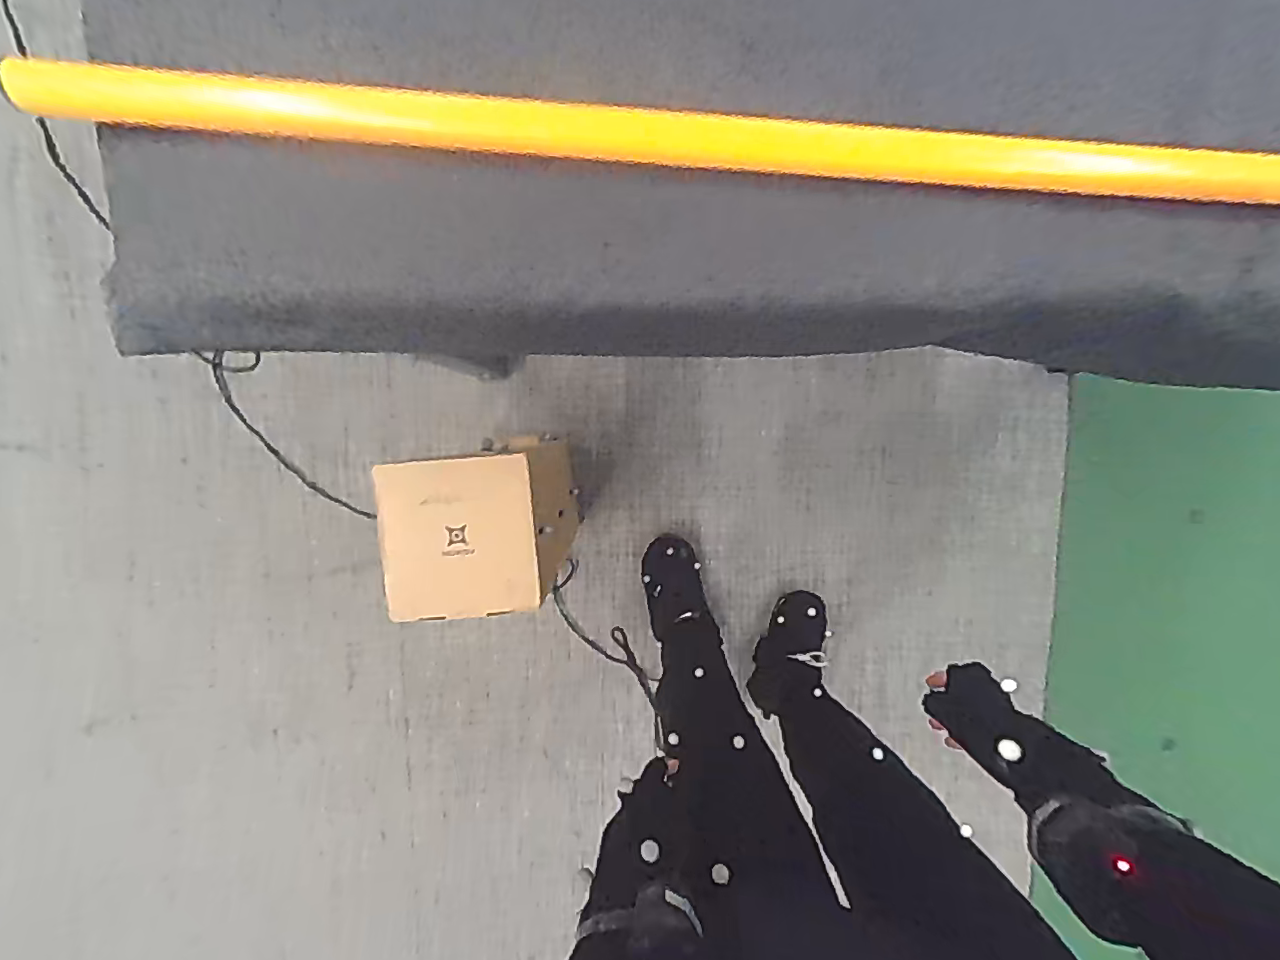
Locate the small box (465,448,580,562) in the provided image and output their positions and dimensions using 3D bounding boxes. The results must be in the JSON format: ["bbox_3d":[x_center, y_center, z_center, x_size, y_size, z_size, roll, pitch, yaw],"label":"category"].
[{"bbox_3d":[-0.205,0.037,0.988,0.168,0.176,0.179,-8,96,-1],"label":"small box"}]
